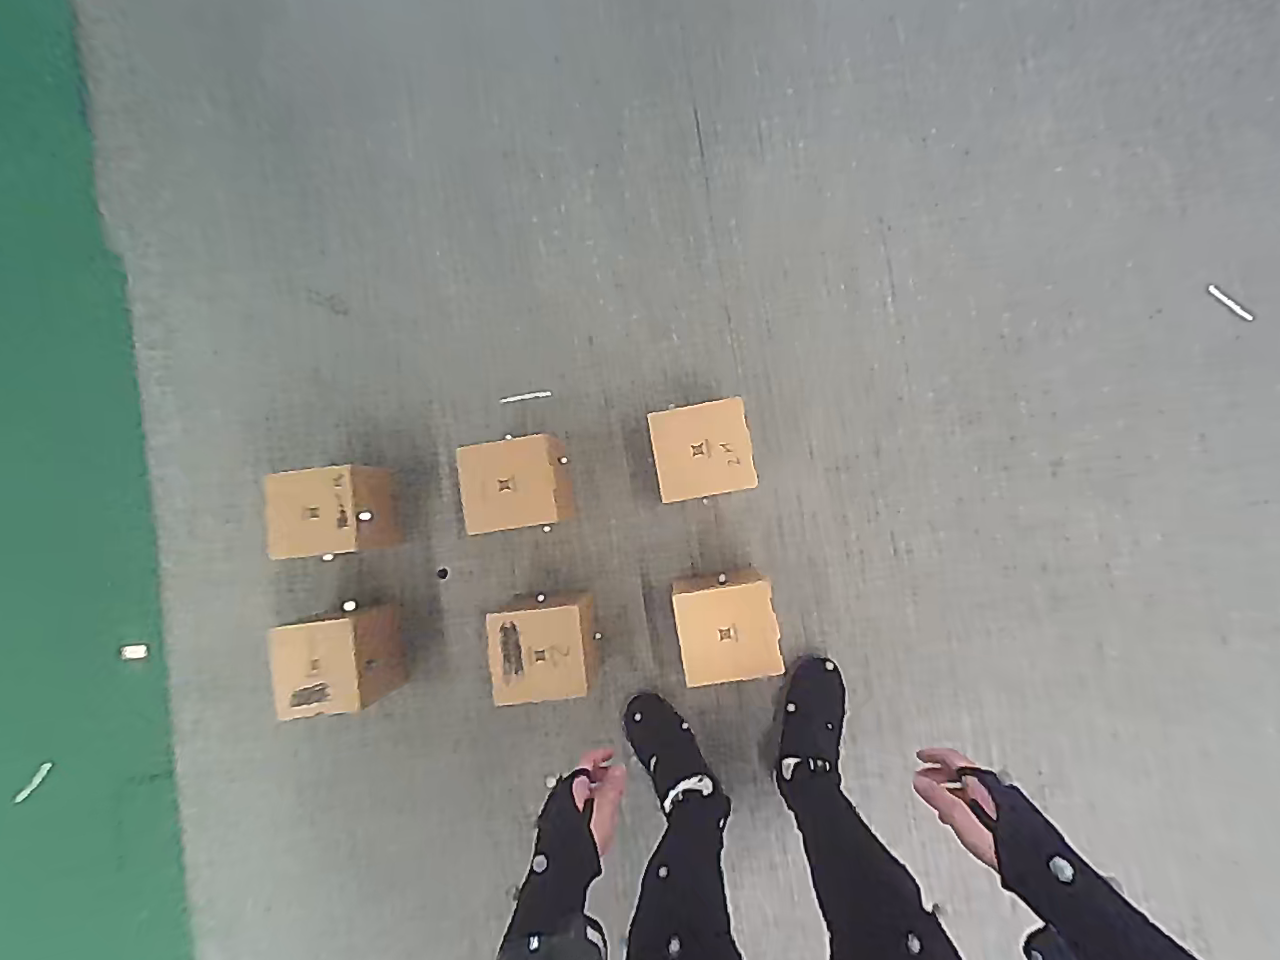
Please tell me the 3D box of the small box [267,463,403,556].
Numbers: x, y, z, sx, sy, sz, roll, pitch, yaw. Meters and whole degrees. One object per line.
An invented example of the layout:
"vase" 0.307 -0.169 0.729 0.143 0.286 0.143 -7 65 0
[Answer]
"small box" -0.606 0.060 1.087 0.179 0.176 0.168 -6 87 5

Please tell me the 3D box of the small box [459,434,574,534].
"small box" -0.233 0.010 1.061 0.179 0.176 0.168 -8 86 4

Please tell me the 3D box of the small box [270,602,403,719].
"small box" -0.590 0.349 1.071 0.168 0.176 0.179 -7 86 4

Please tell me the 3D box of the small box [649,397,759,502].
"small box" 0.120 -0.050 1.035 0.179 0.176 0.168 -9 87 3

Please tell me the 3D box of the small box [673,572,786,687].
"small box" 0.161 0.273 1.021 0.179 0.176 0.168 -9 87 3
